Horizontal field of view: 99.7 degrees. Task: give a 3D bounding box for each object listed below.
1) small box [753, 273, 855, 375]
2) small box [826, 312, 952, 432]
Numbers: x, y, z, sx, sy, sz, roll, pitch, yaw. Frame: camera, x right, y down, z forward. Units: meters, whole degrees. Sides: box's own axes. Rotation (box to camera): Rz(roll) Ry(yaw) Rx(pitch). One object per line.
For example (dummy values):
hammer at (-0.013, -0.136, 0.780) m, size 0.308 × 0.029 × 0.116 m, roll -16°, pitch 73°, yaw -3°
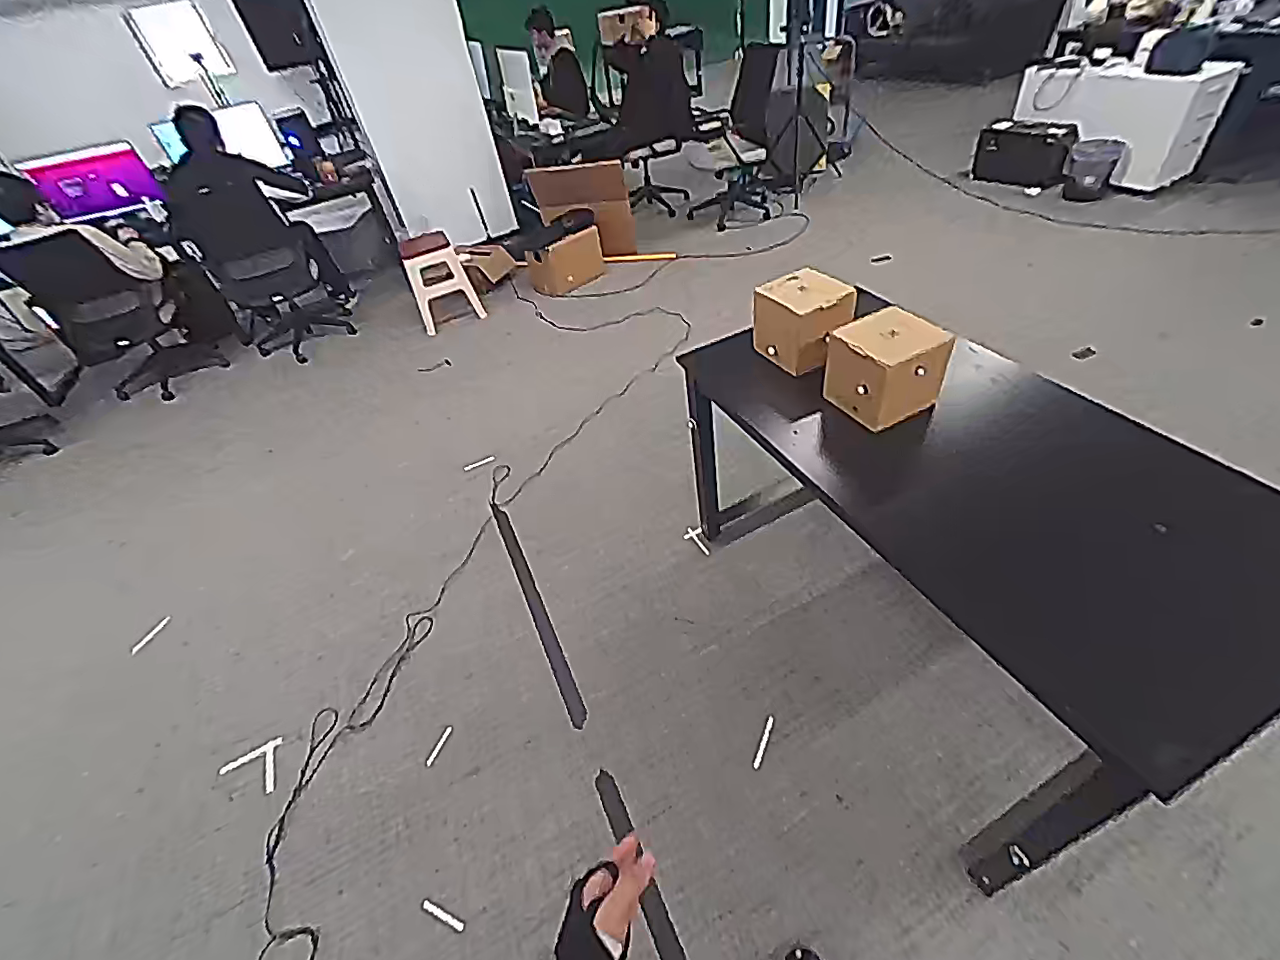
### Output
small box at (0.397, -0.379, 1.334) m, size 0.168 × 0.176 × 0.179 m, roll -25°, pitch 46°, yaw -15°
small box at (0.519, -0.228, 1.157) m, size 0.179 × 0.176 × 0.168 m, roll -23°, pitch 46°, yaw -14°
